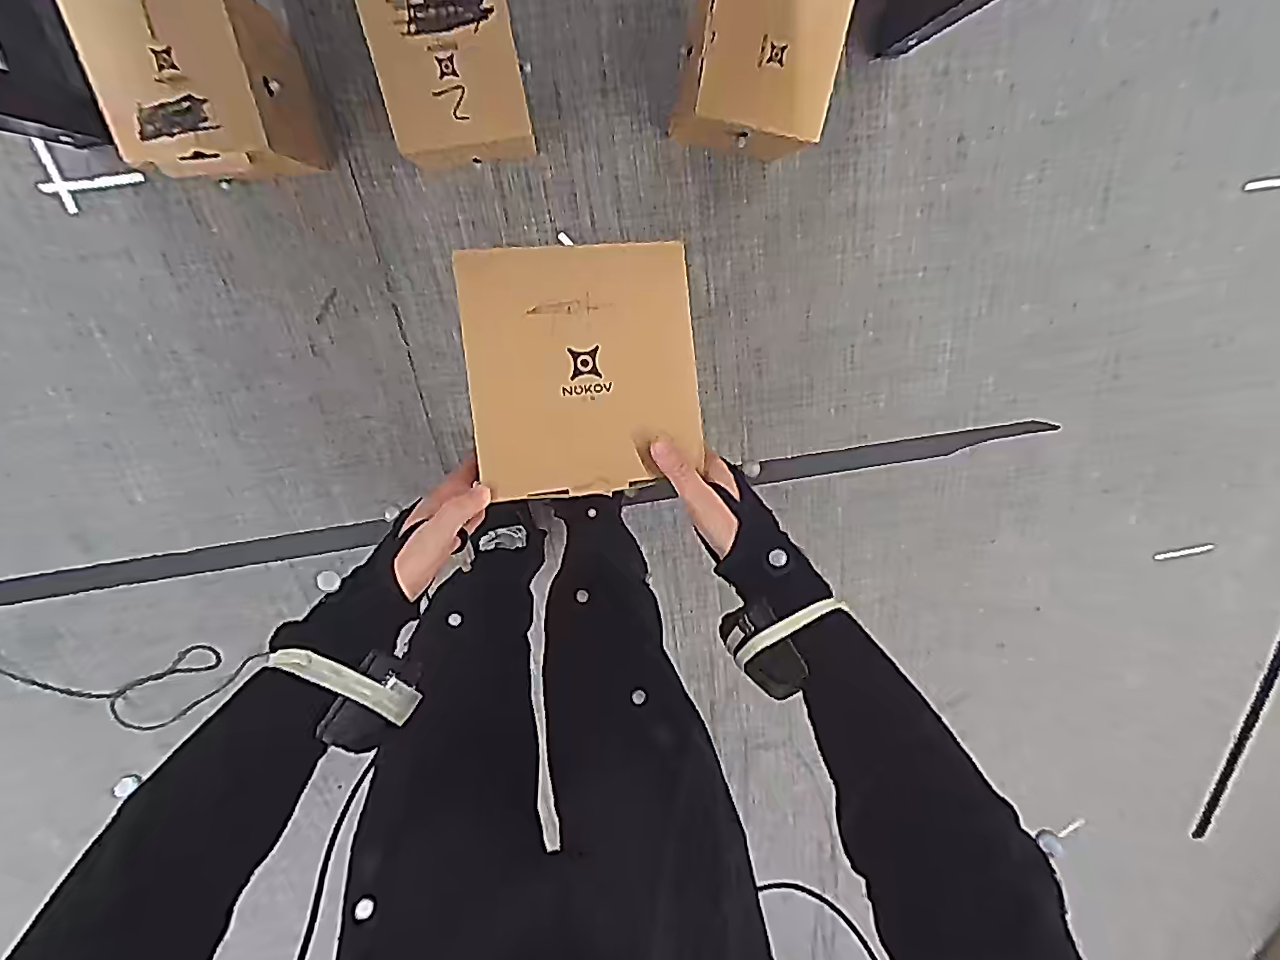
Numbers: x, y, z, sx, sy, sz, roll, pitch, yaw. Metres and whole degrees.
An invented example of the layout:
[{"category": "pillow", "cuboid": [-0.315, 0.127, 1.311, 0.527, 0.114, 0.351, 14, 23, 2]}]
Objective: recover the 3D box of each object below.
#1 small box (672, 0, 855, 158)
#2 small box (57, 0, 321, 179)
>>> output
[{"category": "small box", "cuboid": [0.154, -0.557, 0.740, 0.179, 0.176, 0.168, 7, 112, -10]}, {"category": "small box", "cuboid": [-0.530, -0.481, 0.667, 0.168, 0.176, 0.179, -9, 113, -5]}]
